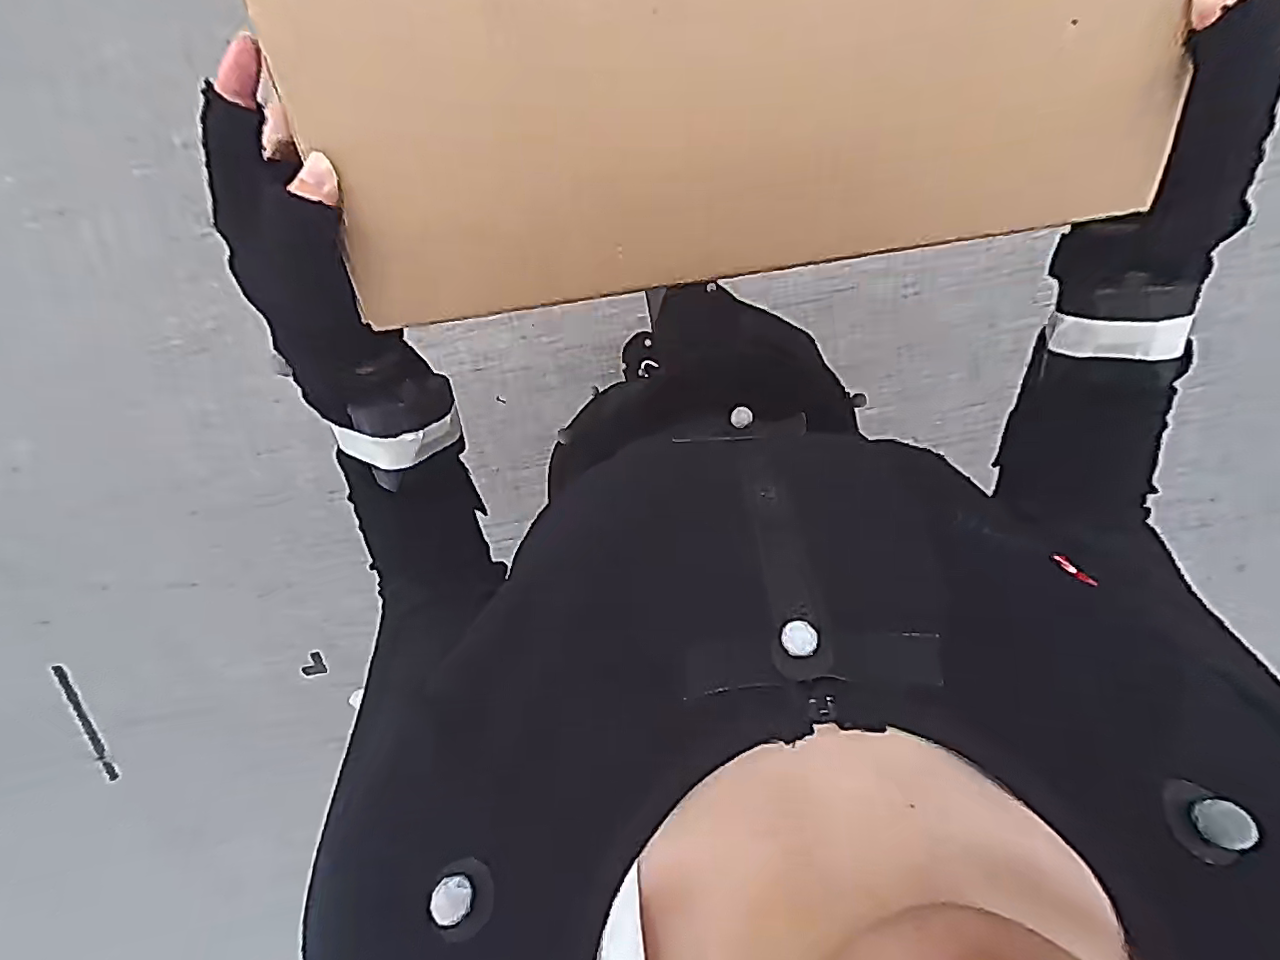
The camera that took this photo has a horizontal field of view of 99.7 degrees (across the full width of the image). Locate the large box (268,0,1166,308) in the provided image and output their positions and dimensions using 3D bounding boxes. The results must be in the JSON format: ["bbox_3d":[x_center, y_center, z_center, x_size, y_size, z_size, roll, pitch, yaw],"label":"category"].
[{"bbox_3d":[0.024,-0.326,0.350,0.408,0.320,0.320,-8,119,3],"label":"large box"}]
